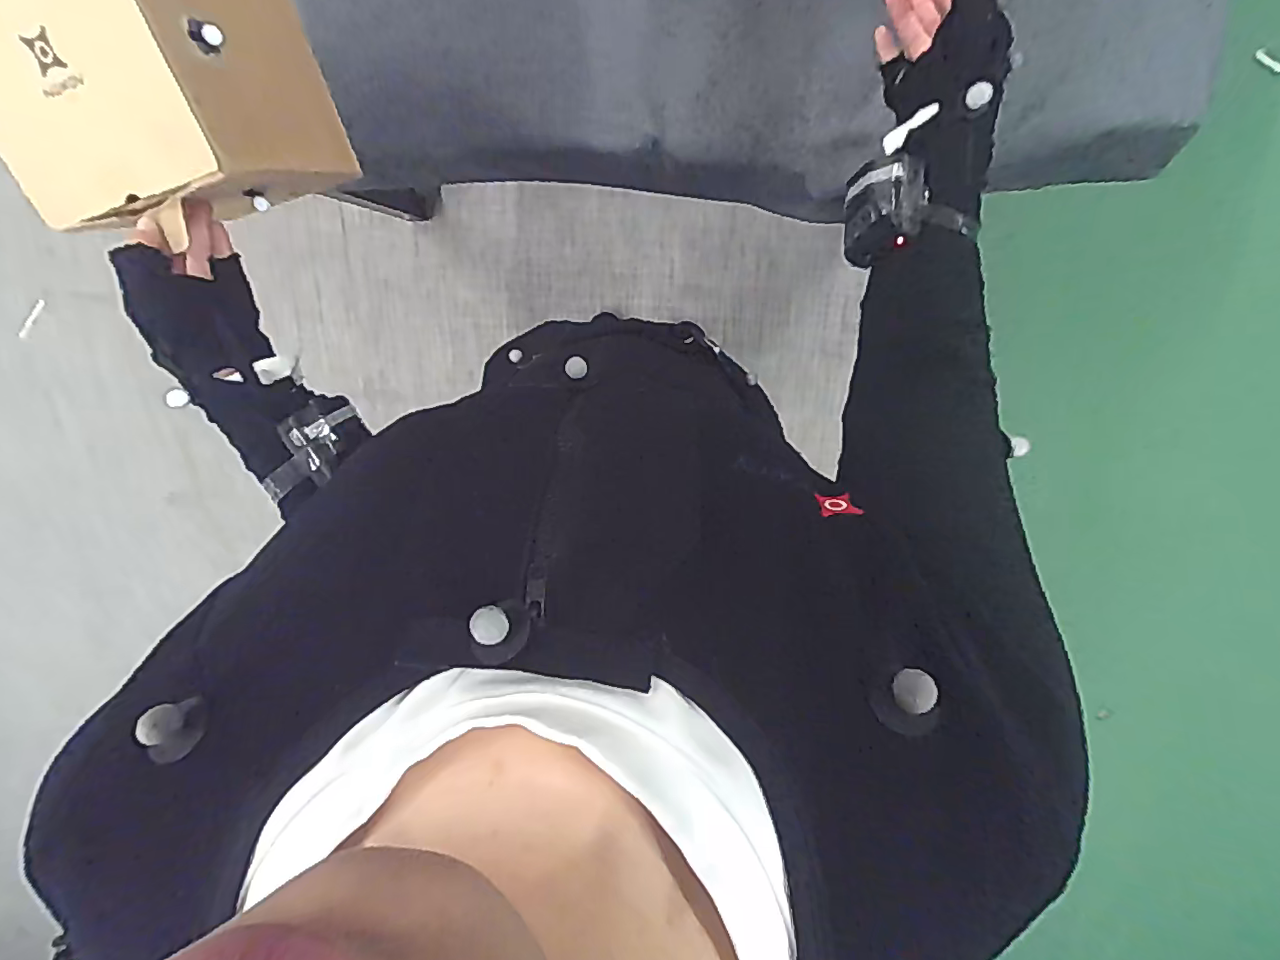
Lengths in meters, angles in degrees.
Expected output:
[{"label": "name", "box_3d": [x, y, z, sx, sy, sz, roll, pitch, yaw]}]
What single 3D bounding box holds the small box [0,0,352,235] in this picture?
[{"label": "small box", "box_3d": [-0.365, -0.306, 0.413, 0.168, 0.176, 0.179, -9, 116, 13]}]
